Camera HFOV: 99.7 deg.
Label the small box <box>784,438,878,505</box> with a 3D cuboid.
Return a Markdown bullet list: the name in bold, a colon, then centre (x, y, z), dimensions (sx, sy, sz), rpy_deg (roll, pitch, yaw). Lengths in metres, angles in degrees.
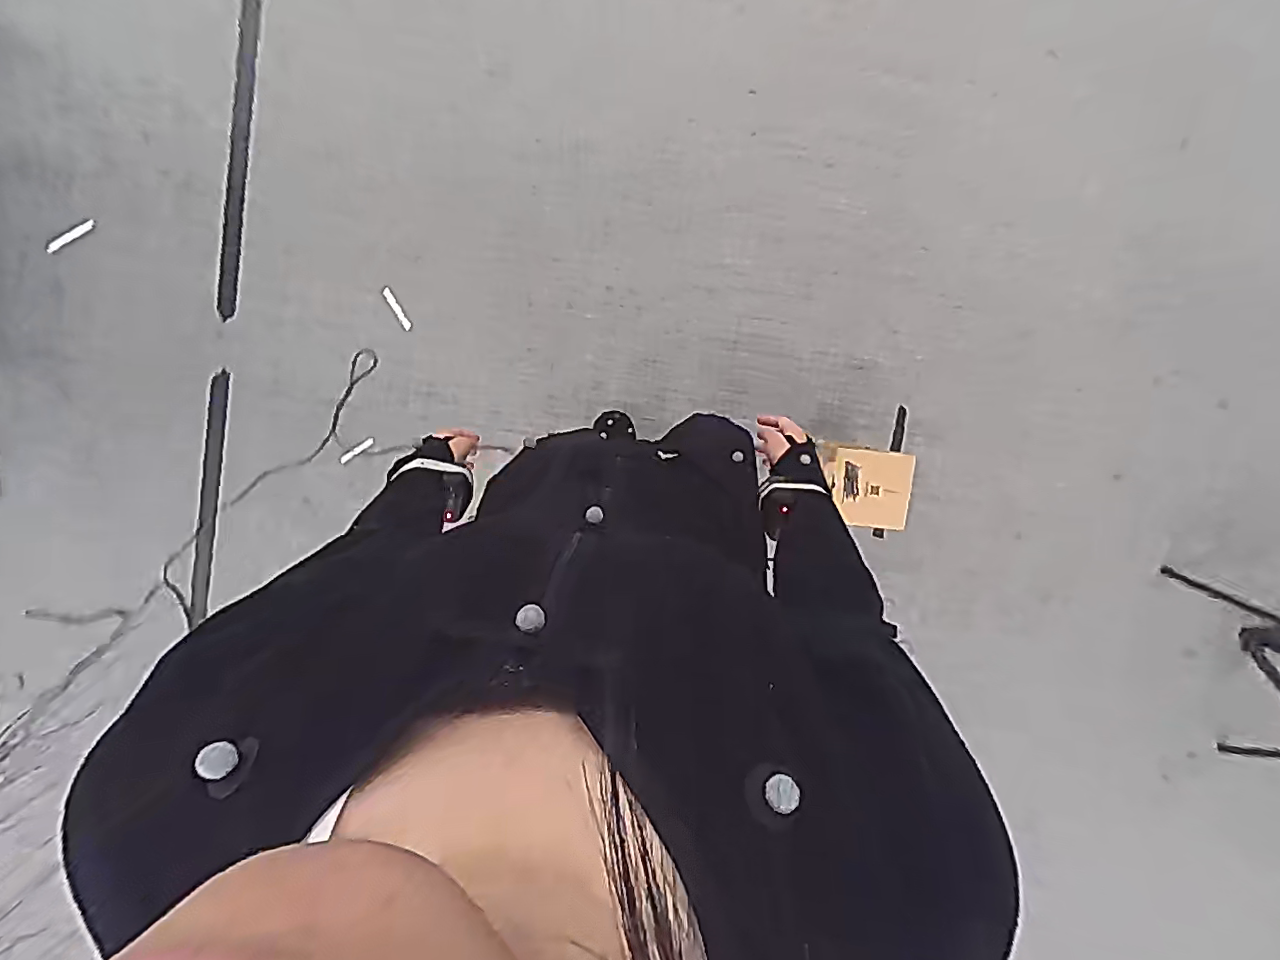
- **small box**: centre (0.489, -0.018, 1.412), dimensions (0.179, 0.176, 0.168), rpy_deg (5, 98, -2)

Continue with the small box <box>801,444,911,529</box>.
- **small box**: centre (0.489, 0.009, 1.249), dimensions (0.179, 0.176, 0.168), rpy_deg (6, 98, -2)
